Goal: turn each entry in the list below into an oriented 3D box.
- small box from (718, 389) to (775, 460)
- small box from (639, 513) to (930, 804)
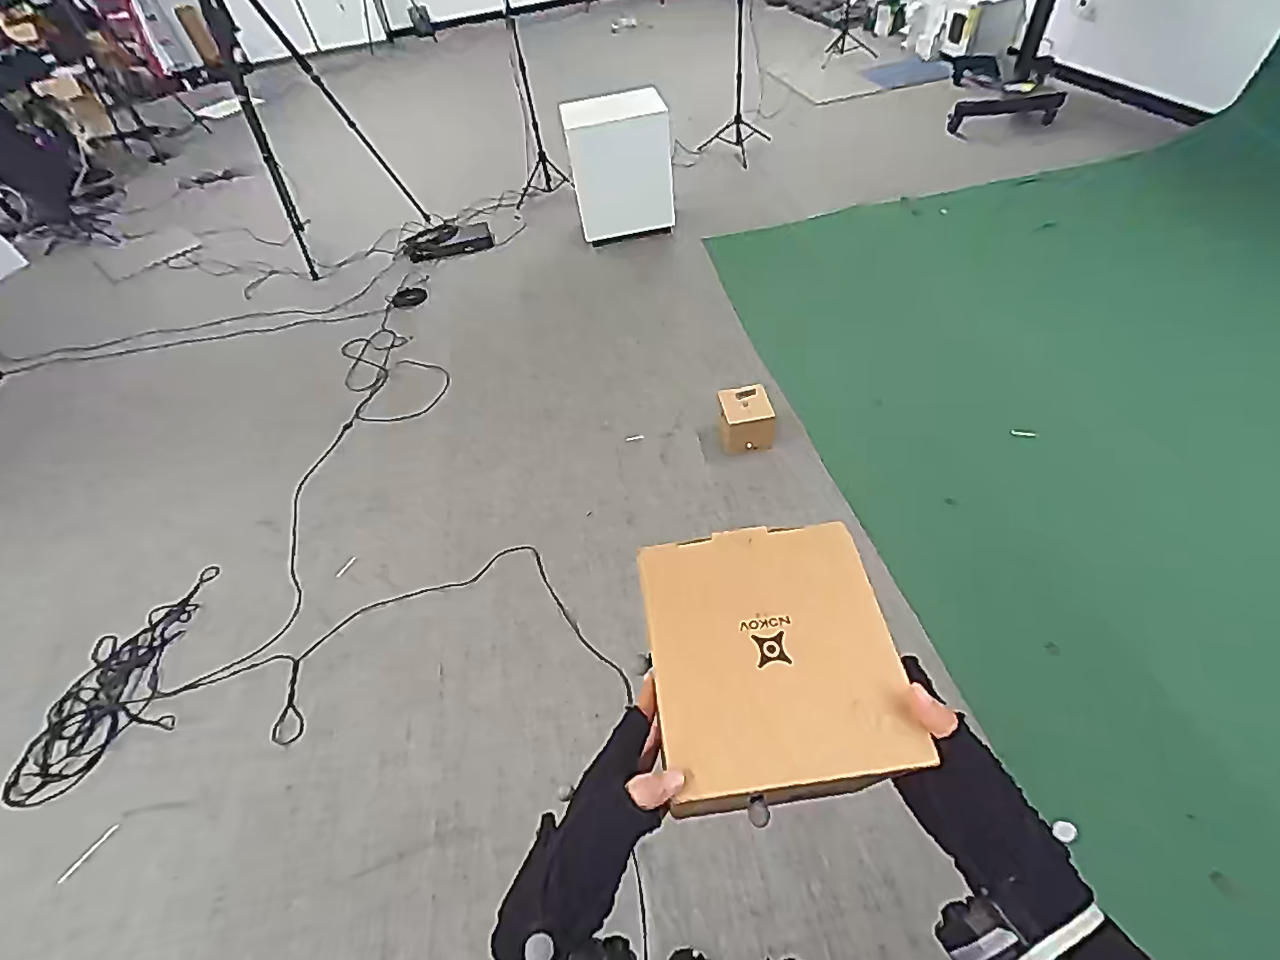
[{"bbox_3d":[0.378,-0.198,1.955,0.168,0.176,0.179,-10,50,0],"label":"small box"},{"bbox_3d":[0.094,0.152,0.440,0.168,0.176,0.179,-8,53,-1],"label":"small box"}]
